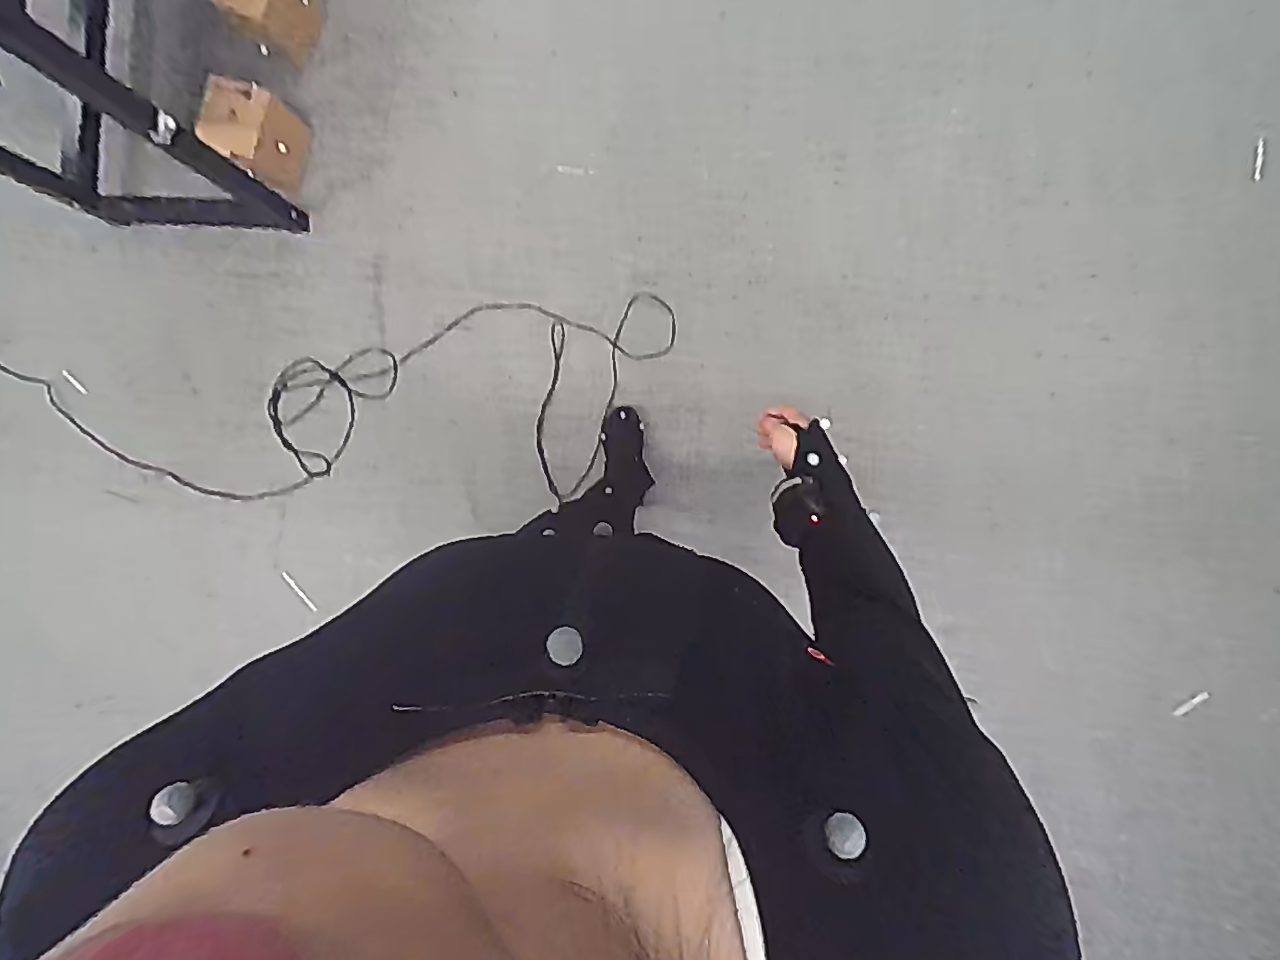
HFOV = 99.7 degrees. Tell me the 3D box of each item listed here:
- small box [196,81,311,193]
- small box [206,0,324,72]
[{"bbox_3d":[-1.009,-0.893,1.425,0.168,0.176,0.179,16,92,2],"label":"small box"},{"bbox_3d":[-0.971,-1.238,1.419,0.168,0.176,0.179,24,93,3],"label":"small box"}]
